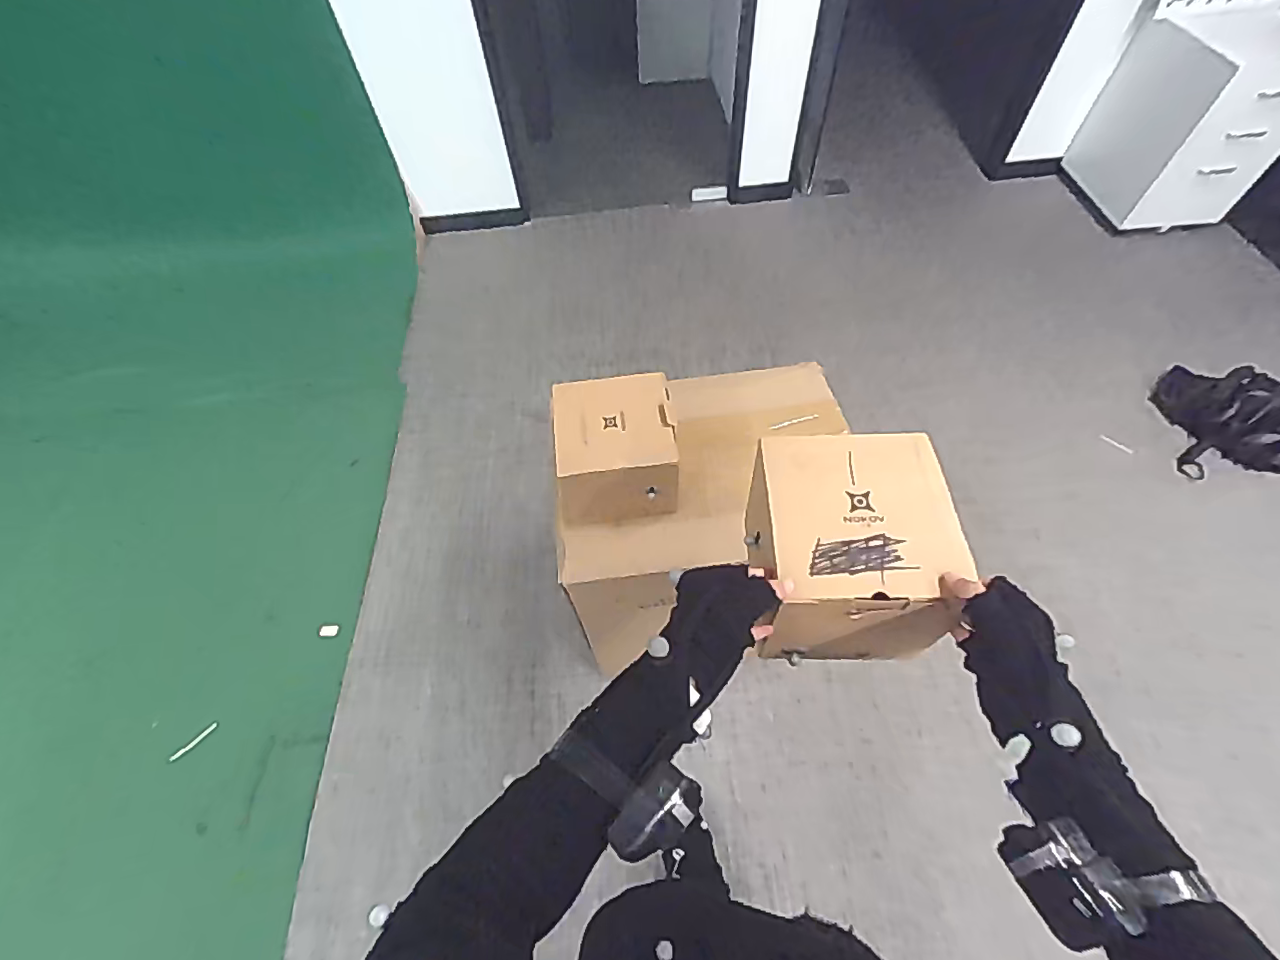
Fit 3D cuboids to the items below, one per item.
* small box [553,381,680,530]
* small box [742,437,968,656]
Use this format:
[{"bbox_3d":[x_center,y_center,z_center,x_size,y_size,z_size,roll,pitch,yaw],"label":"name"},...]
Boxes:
[{"bbox_3d":[-0.035,-0.034,0.869,0.179,0.176,0.168,-9,60,0],"label":"small box"},{"bbox_3d":[0.200,0.076,0.563,0.168,0.176,0.179,-1,55,4],"label":"small box"}]
